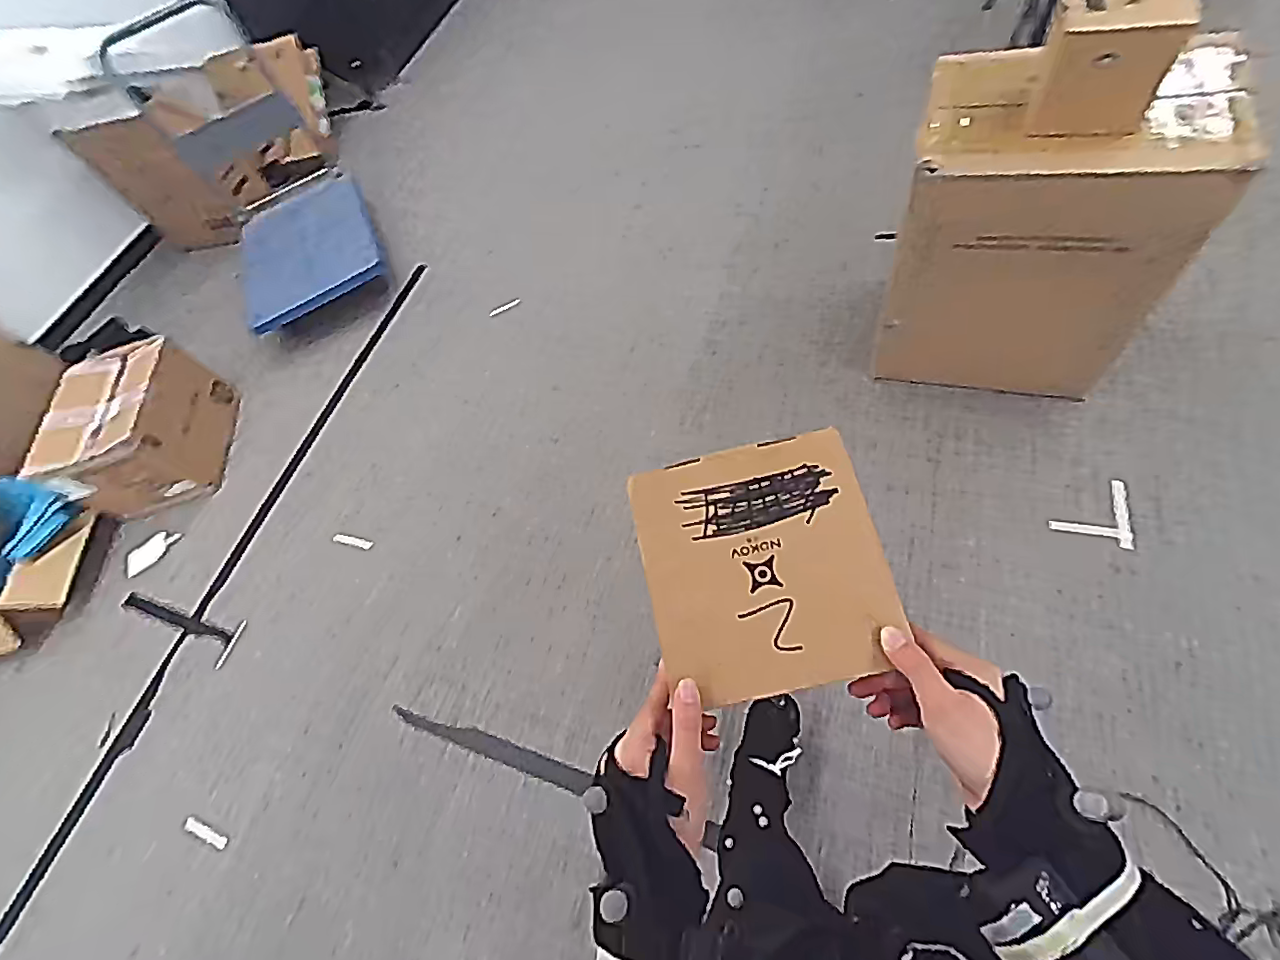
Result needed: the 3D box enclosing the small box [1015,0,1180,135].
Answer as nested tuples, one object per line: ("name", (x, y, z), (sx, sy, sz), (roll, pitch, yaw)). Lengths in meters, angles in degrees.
("small box", (0.792, -0.739, 0.955), (0.179, 0.176, 0.168), (12, 66, 20))
